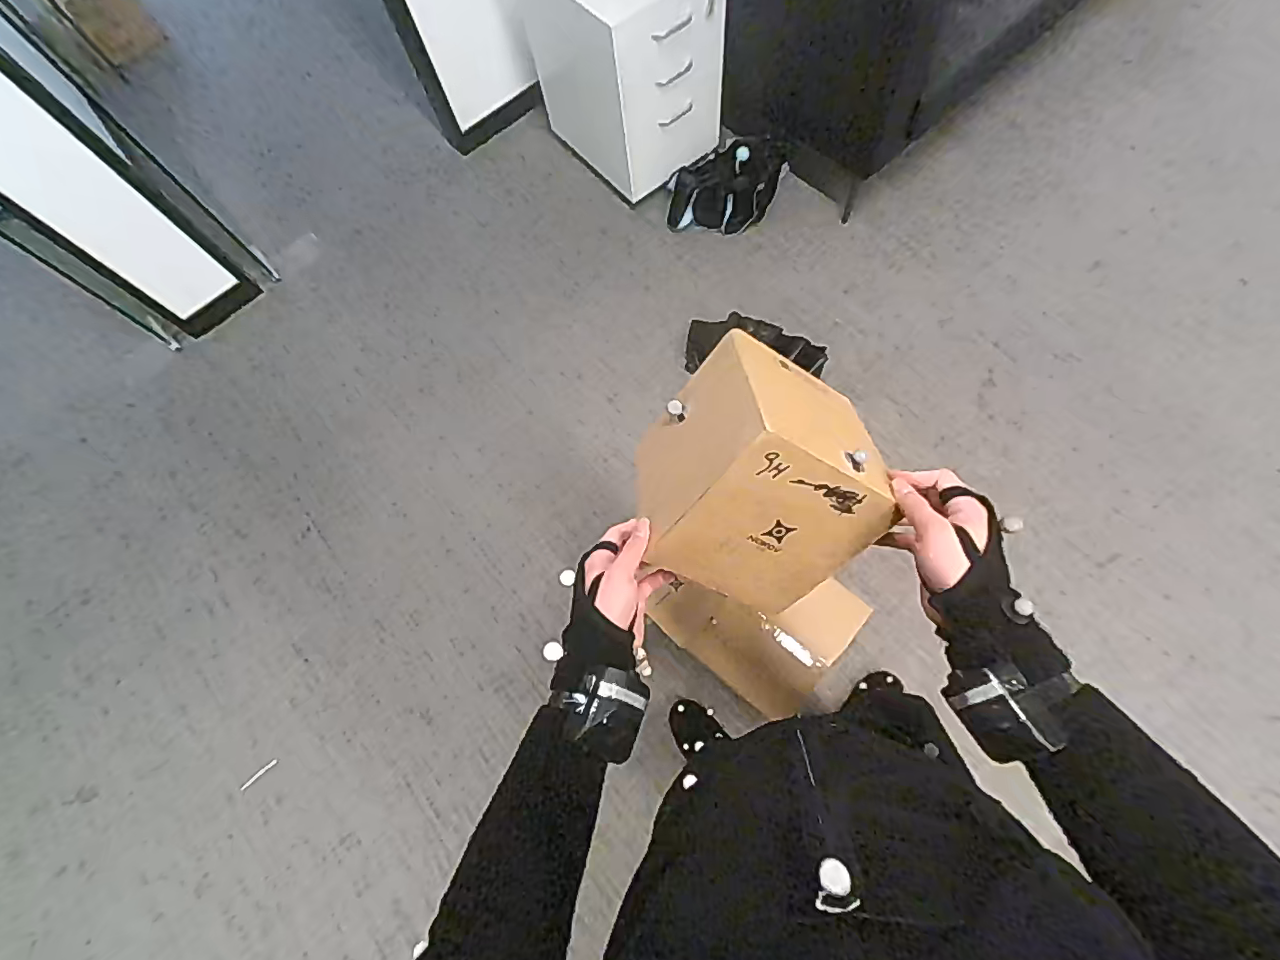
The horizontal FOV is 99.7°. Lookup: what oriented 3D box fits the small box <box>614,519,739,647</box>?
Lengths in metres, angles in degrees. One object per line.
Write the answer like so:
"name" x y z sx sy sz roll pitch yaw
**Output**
"small box" 0.074 0.209 1.070 0.179 0.176 0.168 -45 72 -8
